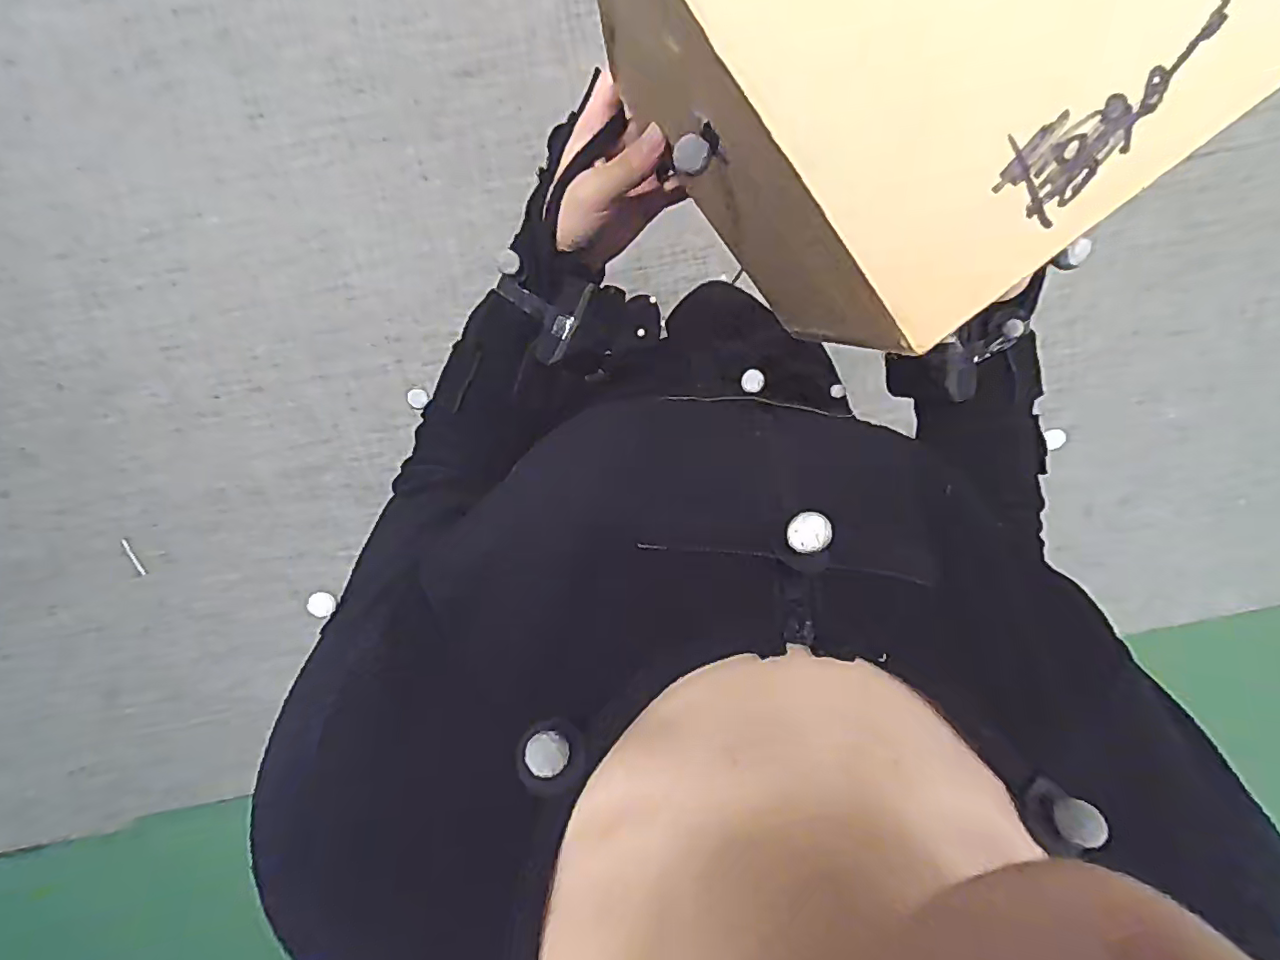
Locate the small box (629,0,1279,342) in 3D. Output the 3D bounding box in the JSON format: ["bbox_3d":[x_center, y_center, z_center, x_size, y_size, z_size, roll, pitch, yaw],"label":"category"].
[{"bbox_3d":[0.105,-0.176,0.229,0.168,0.176,0.179,-39,100,12],"label":"small box"}]
